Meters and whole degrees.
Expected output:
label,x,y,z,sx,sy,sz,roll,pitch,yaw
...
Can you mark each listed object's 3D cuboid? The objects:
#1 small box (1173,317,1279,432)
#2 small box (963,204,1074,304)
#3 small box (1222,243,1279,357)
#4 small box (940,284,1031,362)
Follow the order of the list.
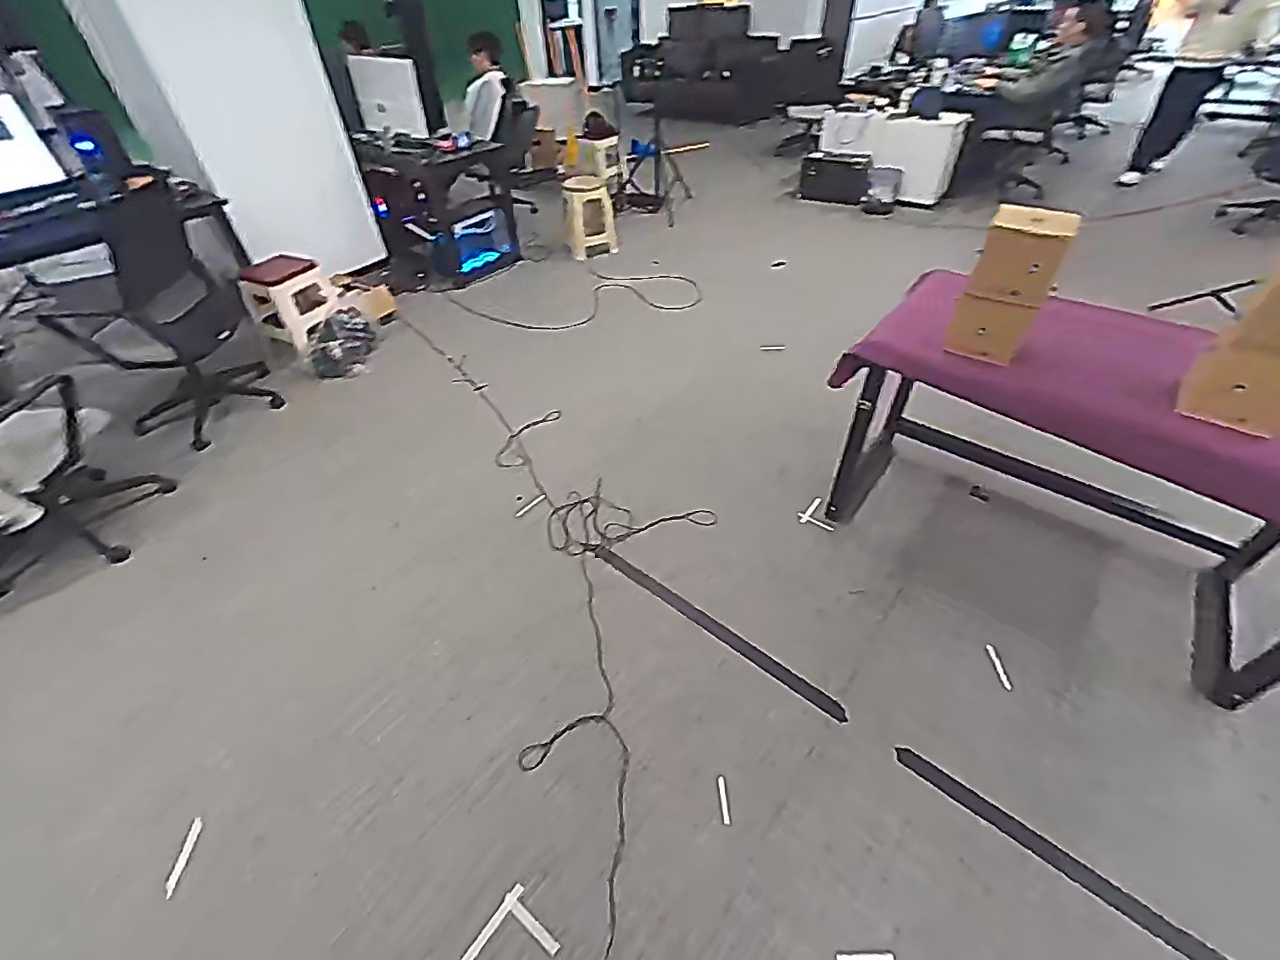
label,x,y,z,sx,sy,sz,roll,pitch,yaw
small box,1.340,-0.233,1.202,0.168,0.176,0.179,28,50,29
small box,0.913,-0.549,1.315,0.168,0.176,0.179,24,48,24
small box,1.338,-0.355,1.093,0.168,0.176,0.179,29,51,29
small box,0.921,-0.435,1.432,0.168,0.176,0.179,25,49,25
